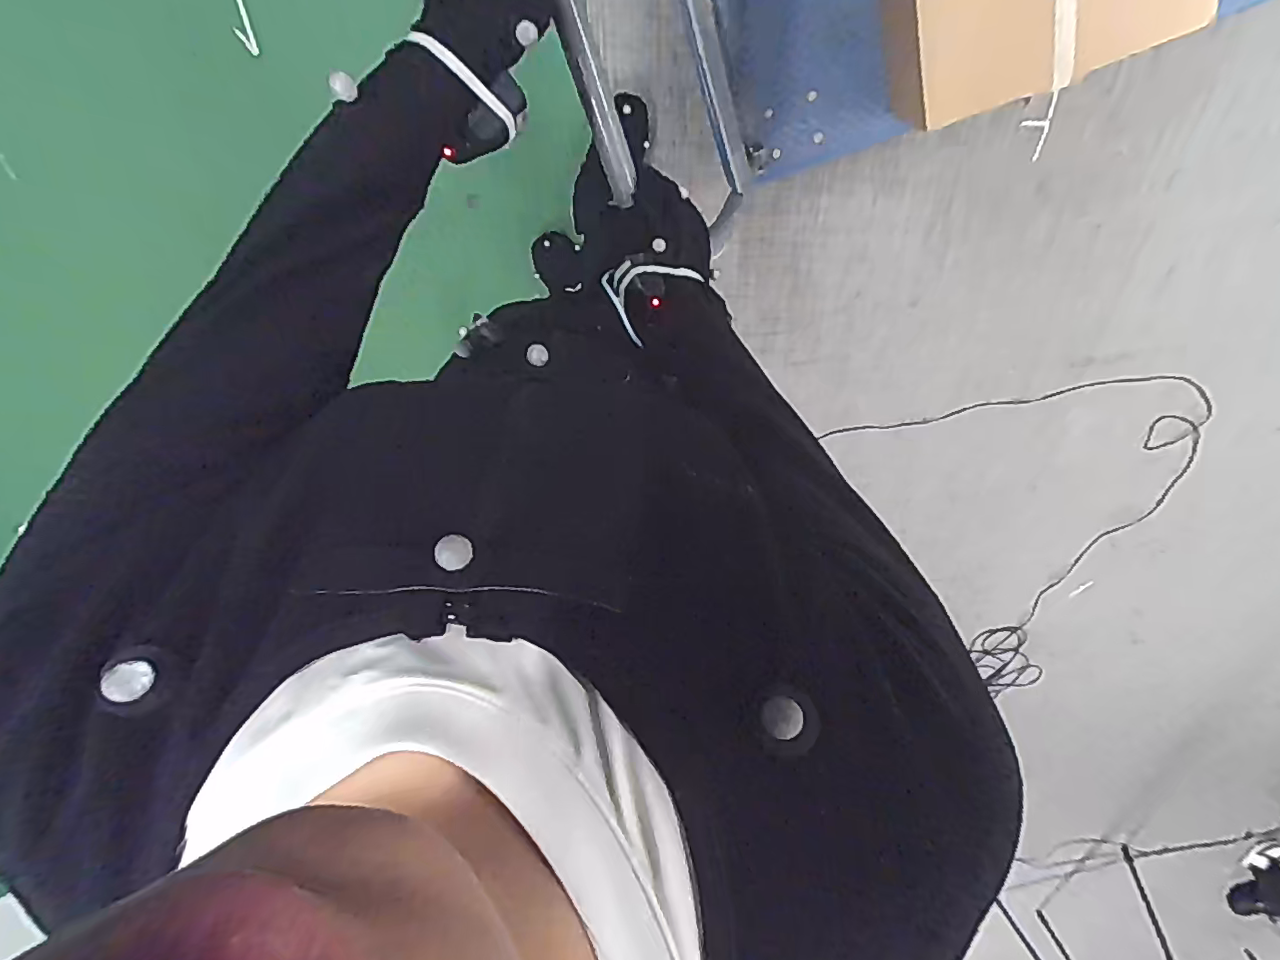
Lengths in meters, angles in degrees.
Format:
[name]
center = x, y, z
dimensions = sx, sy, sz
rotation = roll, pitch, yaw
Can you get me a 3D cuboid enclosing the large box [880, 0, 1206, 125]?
[large box]
center = 0.496, -0.767, 0.722
dimensions = 0.320, 0.320, 0.408
rotation = -11, 123, 22
